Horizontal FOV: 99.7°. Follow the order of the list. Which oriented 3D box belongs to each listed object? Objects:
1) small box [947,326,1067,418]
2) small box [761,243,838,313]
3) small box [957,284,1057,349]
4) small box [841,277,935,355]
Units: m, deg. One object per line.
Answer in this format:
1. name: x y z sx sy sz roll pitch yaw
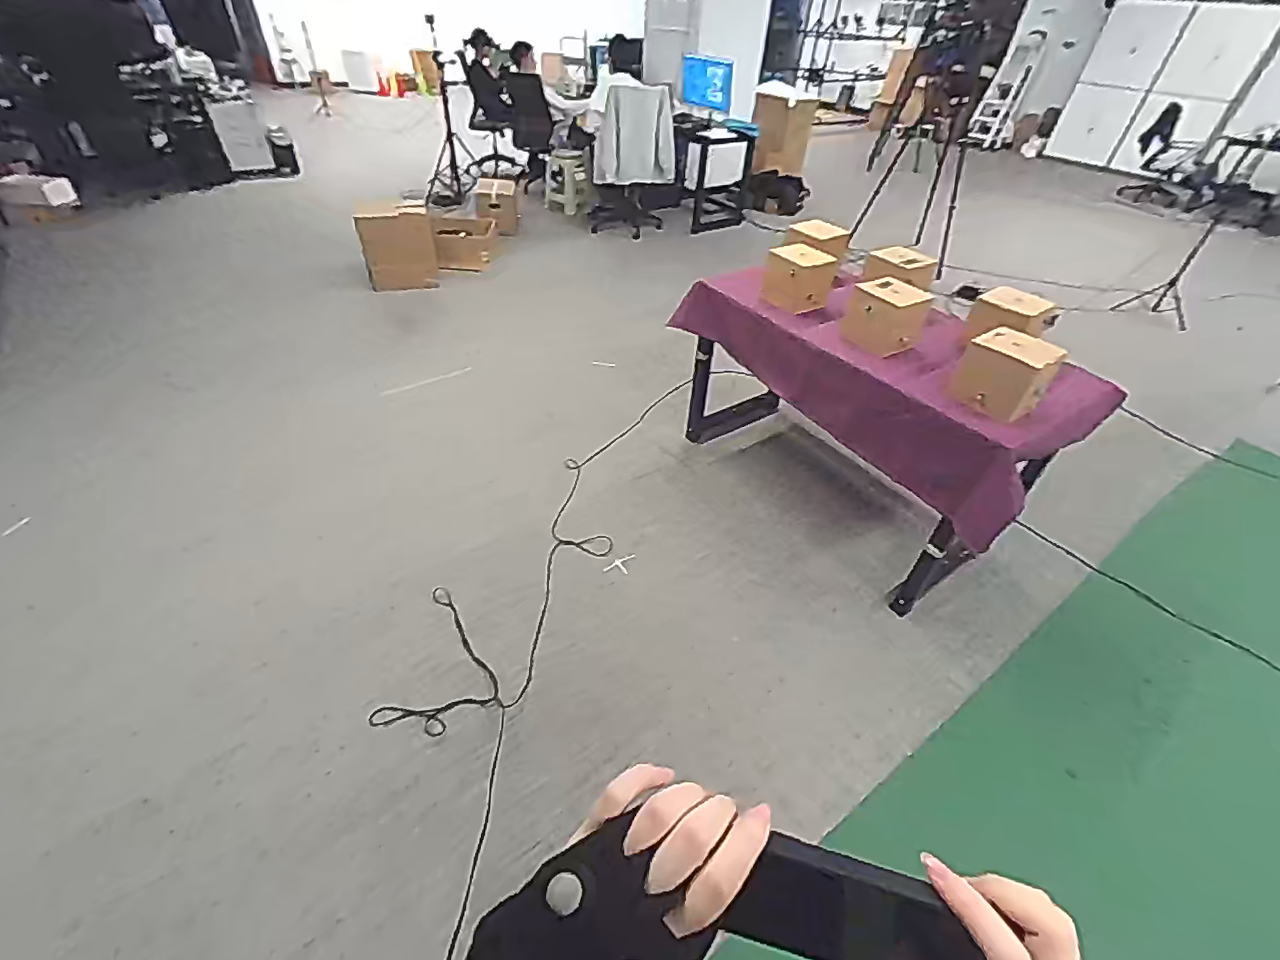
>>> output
1. small box: 0.964 -0.282 1.433 0.168 0.176 0.179 -23 48 -28
2. small box: 0.546 -0.702 1.880 0.168 0.176 0.179 -22 48 -26
3. small box: 1.123 -0.479 1.668 0.179 0.176 0.168 -25 49 -28
4. small box: 0.759 -0.509 1.676 0.168 0.176 0.179 -20 48 -25
